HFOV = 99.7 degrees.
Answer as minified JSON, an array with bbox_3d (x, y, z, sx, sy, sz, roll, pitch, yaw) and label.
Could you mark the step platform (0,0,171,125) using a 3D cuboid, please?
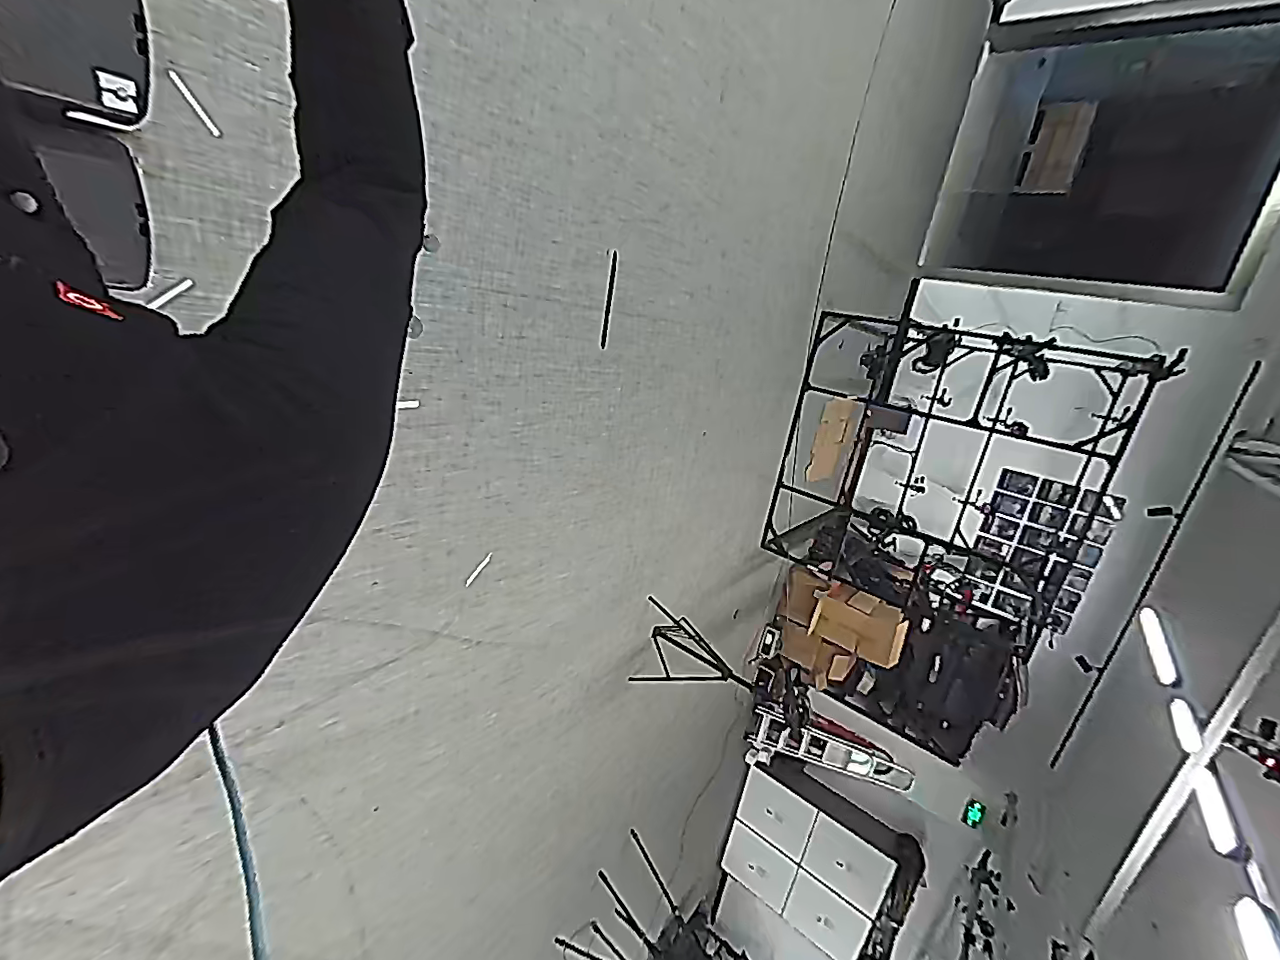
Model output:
[{"bbox_3d":[-1.100,-0.754,0.746,0.684,0.204,0.286,-17,122,-51],"label":"step platform"}]
